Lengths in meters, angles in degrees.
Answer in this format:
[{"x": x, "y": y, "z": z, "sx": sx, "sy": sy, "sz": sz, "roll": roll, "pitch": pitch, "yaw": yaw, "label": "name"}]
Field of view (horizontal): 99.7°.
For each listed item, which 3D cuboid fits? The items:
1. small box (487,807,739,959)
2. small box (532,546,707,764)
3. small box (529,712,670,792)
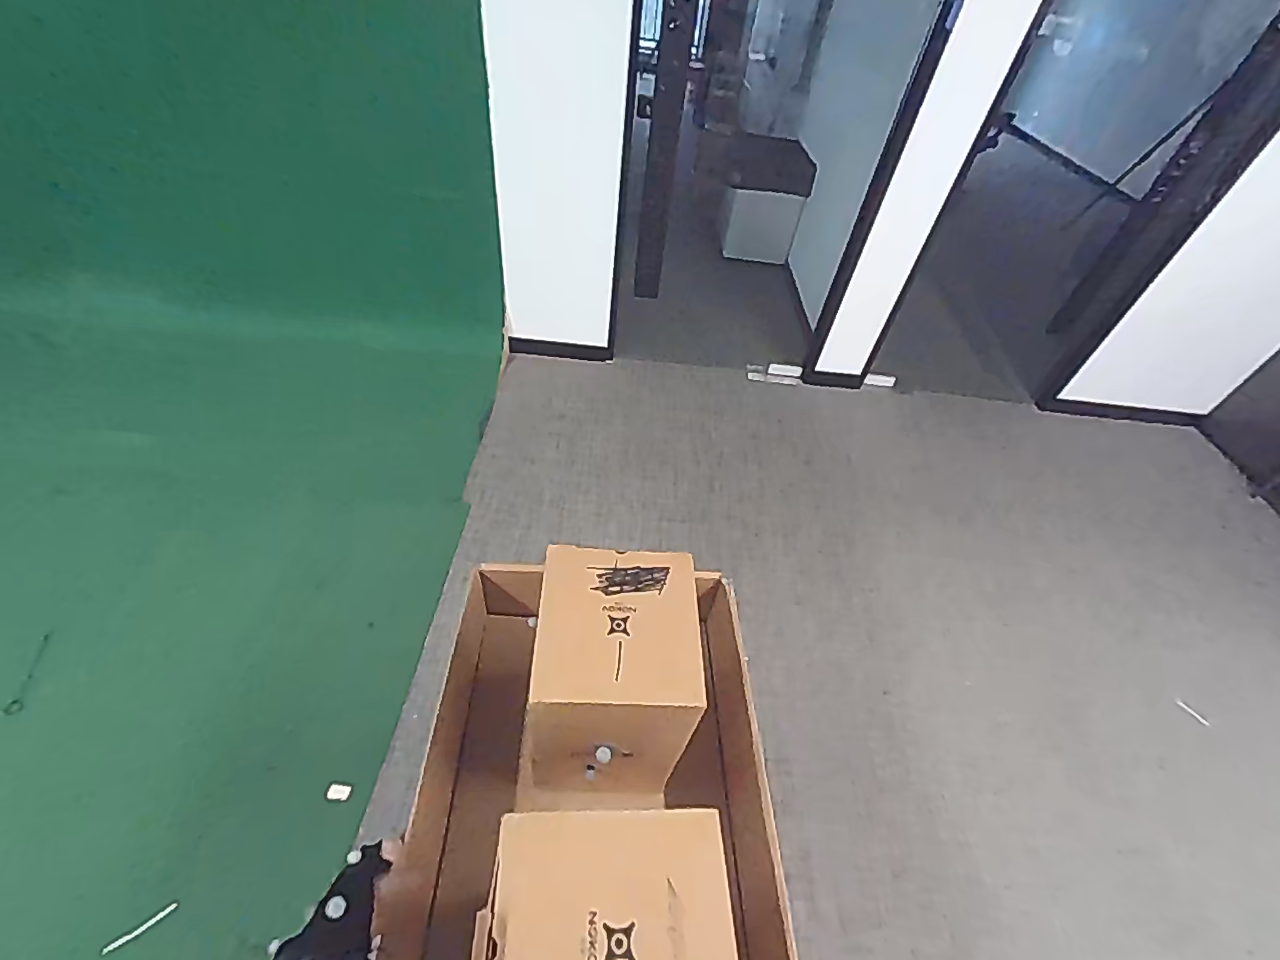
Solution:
[{"x": -0.026, "y": 0.379, "z": 0.432, "sx": 0.179, "sy": 0.176, "sz": 0.168, "roll": 3, "pitch": 45, "yaw": -7, "label": "small box"}, {"x": -0.028, "y": 0.197, "z": 0.608, "sx": 0.168, "sy": 0.176, "sz": 0.179, "roll": 4, "pitch": 47, "yaw": -5, "label": "small box"}, {"x": -0.047, "y": 0.308, "z": 0.728, "sx": 0.179, "sy": 0.176, "sz": 0.168, "roll": 4, "pitch": 47, "yaw": -5, "label": "small box"}]
